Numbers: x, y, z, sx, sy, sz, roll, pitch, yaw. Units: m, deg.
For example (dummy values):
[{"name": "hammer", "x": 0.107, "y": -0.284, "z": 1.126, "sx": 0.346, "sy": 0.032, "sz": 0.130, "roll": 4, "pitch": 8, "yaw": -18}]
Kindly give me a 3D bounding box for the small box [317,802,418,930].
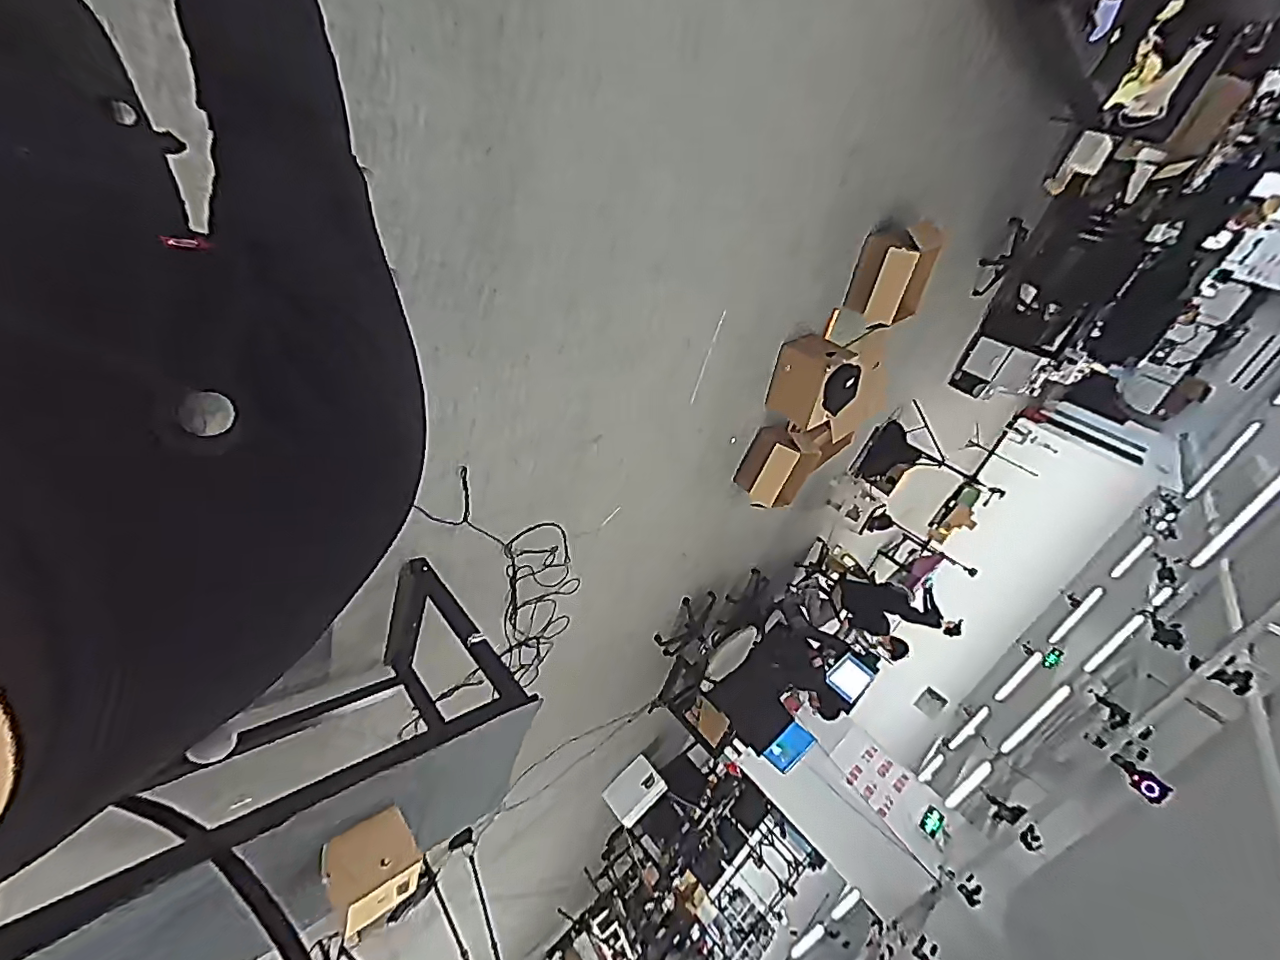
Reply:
[{"name": "small box", "x": -0.690, "y": 0.962, "z": 1.366, "sx": 0.179, "sy": 0.176, "sz": 0.168, "roll": -11, "pitch": 131, "yaw": -45}]
